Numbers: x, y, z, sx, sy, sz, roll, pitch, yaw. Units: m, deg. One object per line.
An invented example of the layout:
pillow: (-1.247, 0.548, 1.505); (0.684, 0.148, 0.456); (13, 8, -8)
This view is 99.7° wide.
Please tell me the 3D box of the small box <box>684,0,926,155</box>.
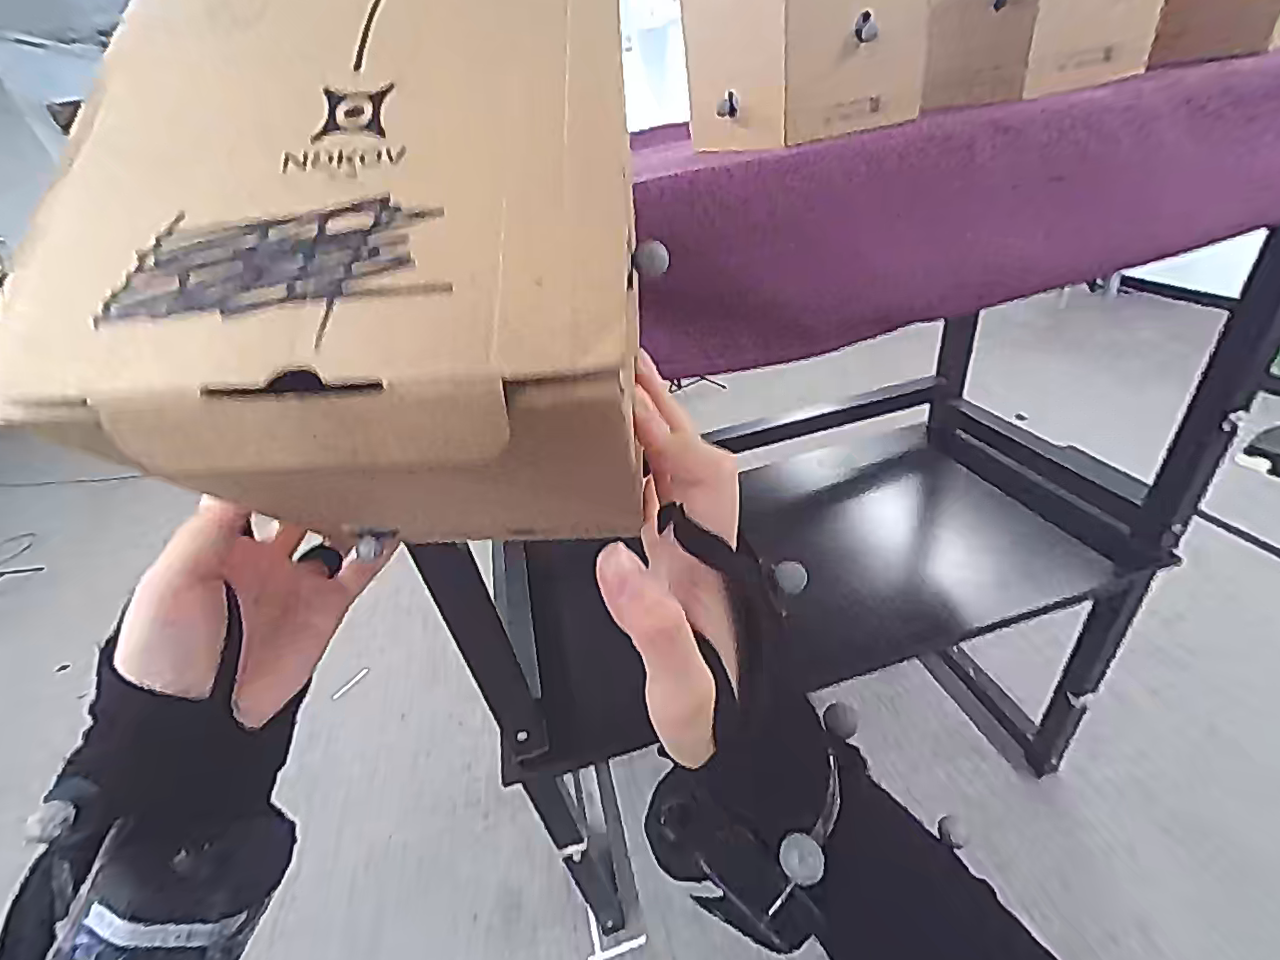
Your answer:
small box: (0.162, -0.436, 0.540); (0.168, 0.176, 0.179); (-21, 35, -16)

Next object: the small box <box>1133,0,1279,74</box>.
small box: (0.674, -0.574, 0.605); (0.168, 0.176, 0.179); (-20, 34, -13)

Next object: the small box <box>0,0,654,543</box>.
small box: (-0.078, -0.071, 0.234); (0.168, 0.176, 0.179); (-2, 70, 0)

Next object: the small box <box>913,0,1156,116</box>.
small box: (0.418, -0.510, 0.584); (0.168, 0.176, 0.179); (-17, 33, -11)
